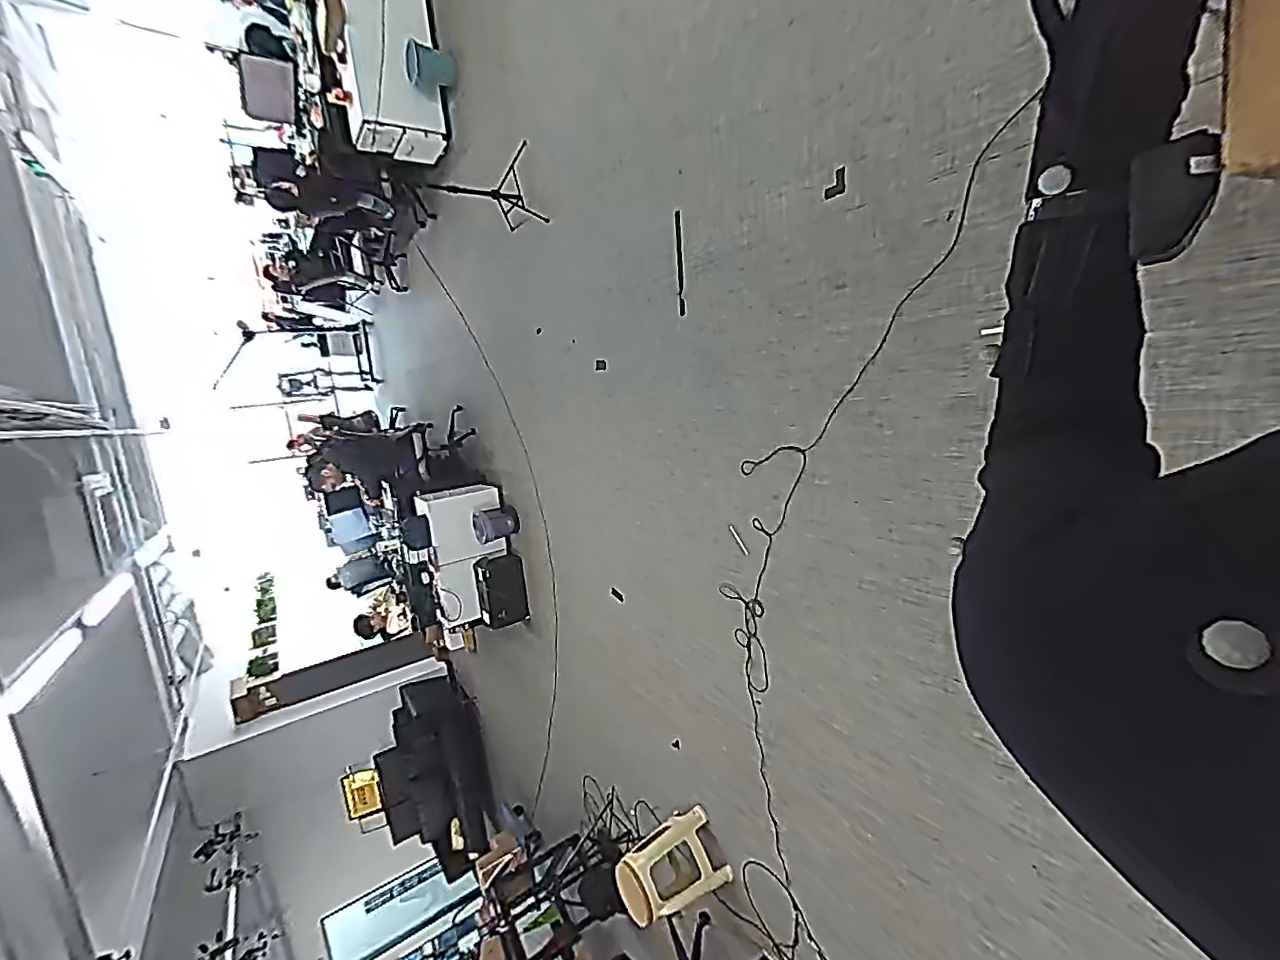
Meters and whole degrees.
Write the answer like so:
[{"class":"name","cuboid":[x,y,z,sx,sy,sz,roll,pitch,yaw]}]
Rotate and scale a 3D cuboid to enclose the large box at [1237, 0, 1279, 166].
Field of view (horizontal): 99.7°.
[{"class":"large box","cuboid":[0.520,-0.347,0.181,0.408,0.320,0.320,6,112,54]}]
